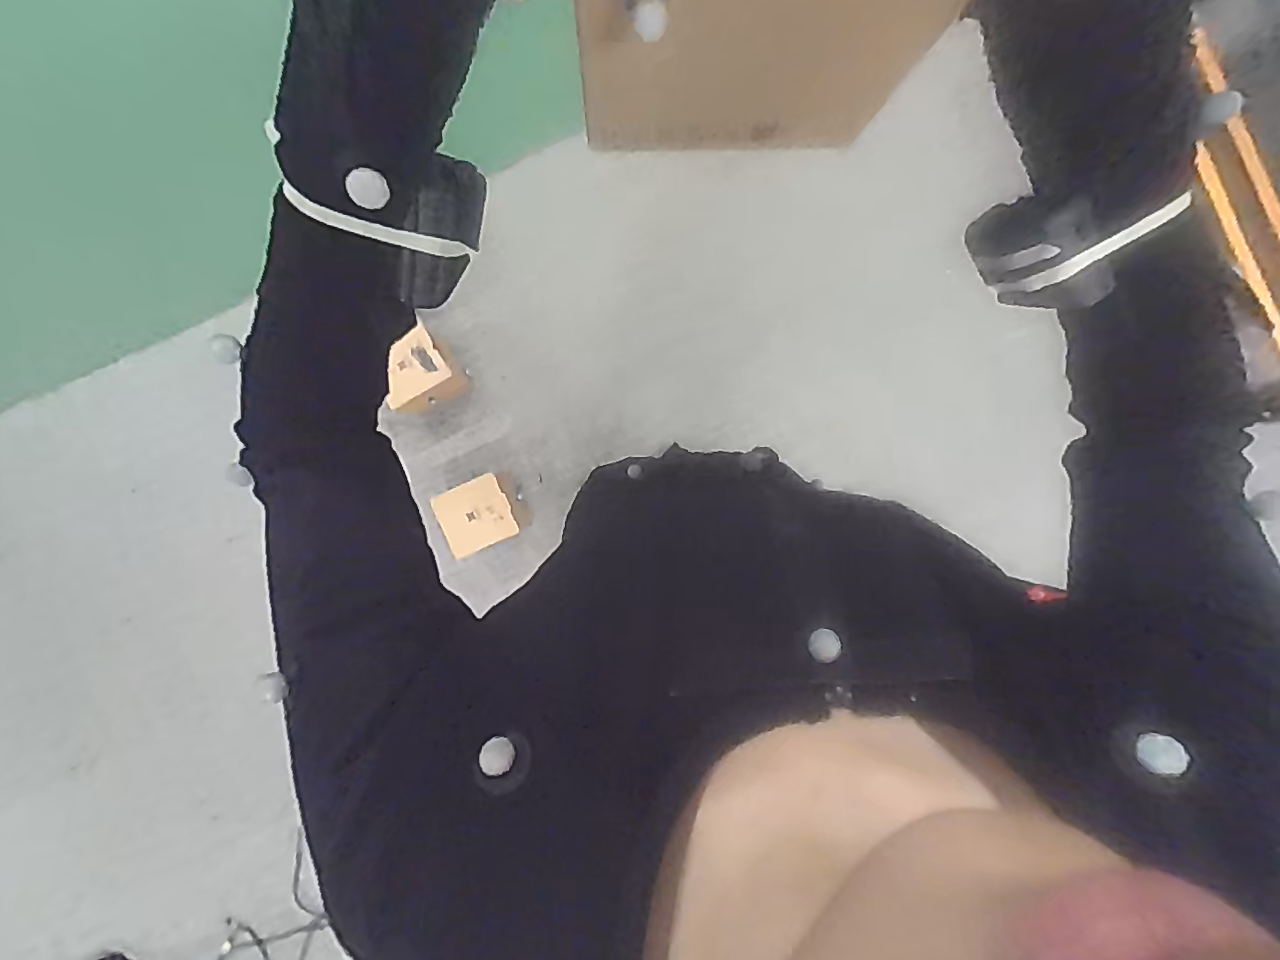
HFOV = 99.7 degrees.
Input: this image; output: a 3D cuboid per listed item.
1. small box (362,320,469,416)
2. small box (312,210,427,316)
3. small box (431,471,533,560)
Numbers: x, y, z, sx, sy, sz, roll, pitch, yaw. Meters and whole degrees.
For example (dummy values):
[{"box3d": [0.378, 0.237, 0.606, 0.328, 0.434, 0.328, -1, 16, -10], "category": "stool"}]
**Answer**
[{"box3d": [-0.563, -0.280, 1.389, 0.179, 0.176, 0.168, -30, 90, 1], "category": "small box"}, {"box3d": [-0.684, -0.546, 1.388, 0.179, 0.176, 0.168, -26, 91, 0], "category": "small box"}, {"box3d": [-0.397, 0.087, 1.390, 0.179, 0.176, 0.168, -25, 92, 0], "category": "small box"}]
